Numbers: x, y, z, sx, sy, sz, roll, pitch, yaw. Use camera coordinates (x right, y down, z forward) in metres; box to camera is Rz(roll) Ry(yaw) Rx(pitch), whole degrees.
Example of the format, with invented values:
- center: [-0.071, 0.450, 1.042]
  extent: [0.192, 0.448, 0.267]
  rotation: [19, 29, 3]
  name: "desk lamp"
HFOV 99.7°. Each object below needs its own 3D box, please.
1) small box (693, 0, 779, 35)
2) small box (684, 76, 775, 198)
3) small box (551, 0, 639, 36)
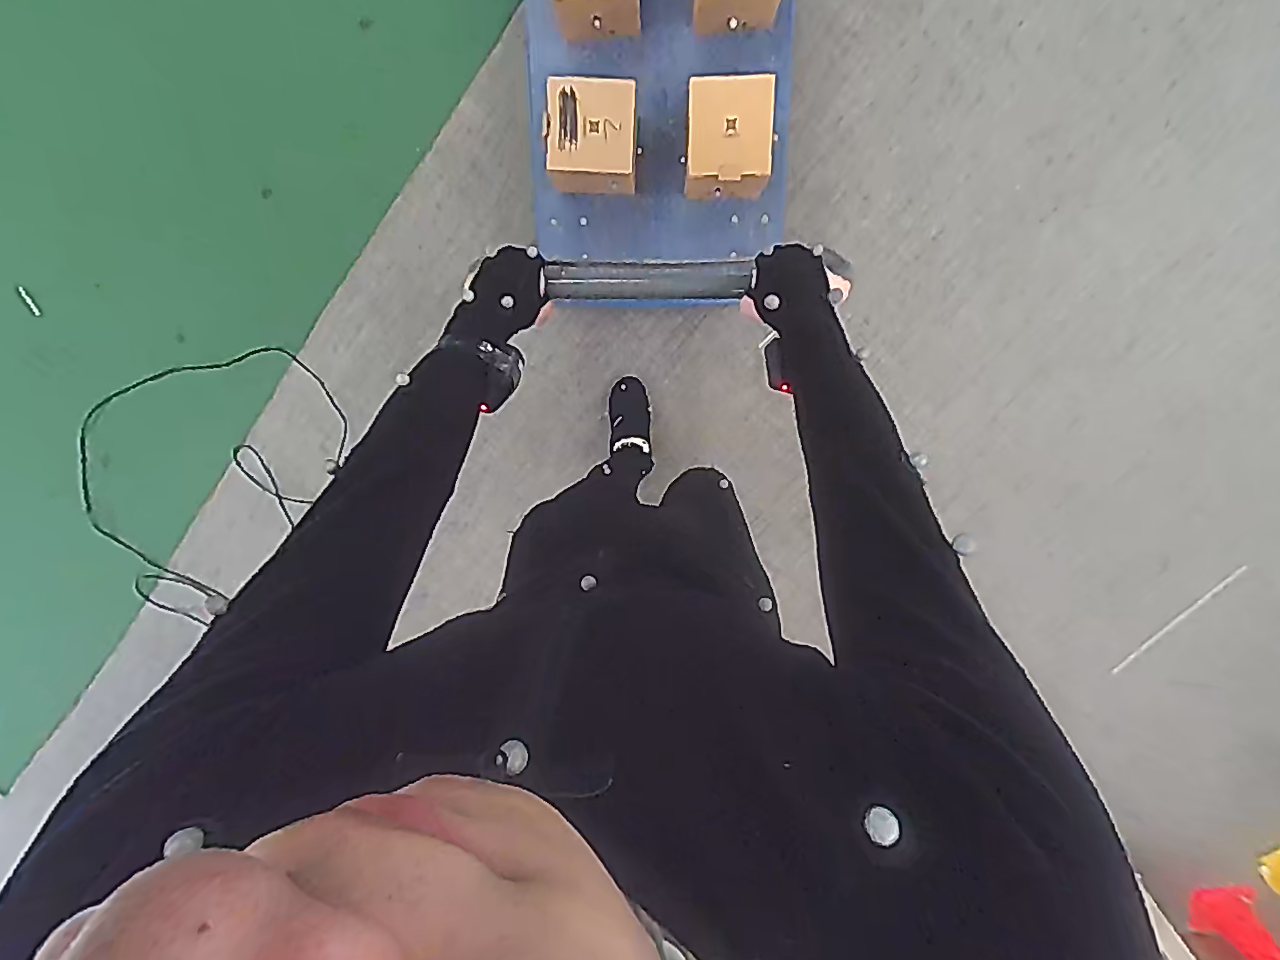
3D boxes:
- center: [0.186, -1.014, 1.046]
  extent: [0.168, 0.176, 0.179]
  rotation: [-4, 106, 4]
  name: "small box"
- center: [0.179, -0.708, 1.132]
  extent: [0.168, 0.176, 0.179]
  rotation: [0, 106, 2]
  name: "small box"
- center: [-0.090, -1.007, 1.057]
  extent: [0.168, 0.176, 0.179]
  rotation: [-4, 105, 2]
  name: "small box"
